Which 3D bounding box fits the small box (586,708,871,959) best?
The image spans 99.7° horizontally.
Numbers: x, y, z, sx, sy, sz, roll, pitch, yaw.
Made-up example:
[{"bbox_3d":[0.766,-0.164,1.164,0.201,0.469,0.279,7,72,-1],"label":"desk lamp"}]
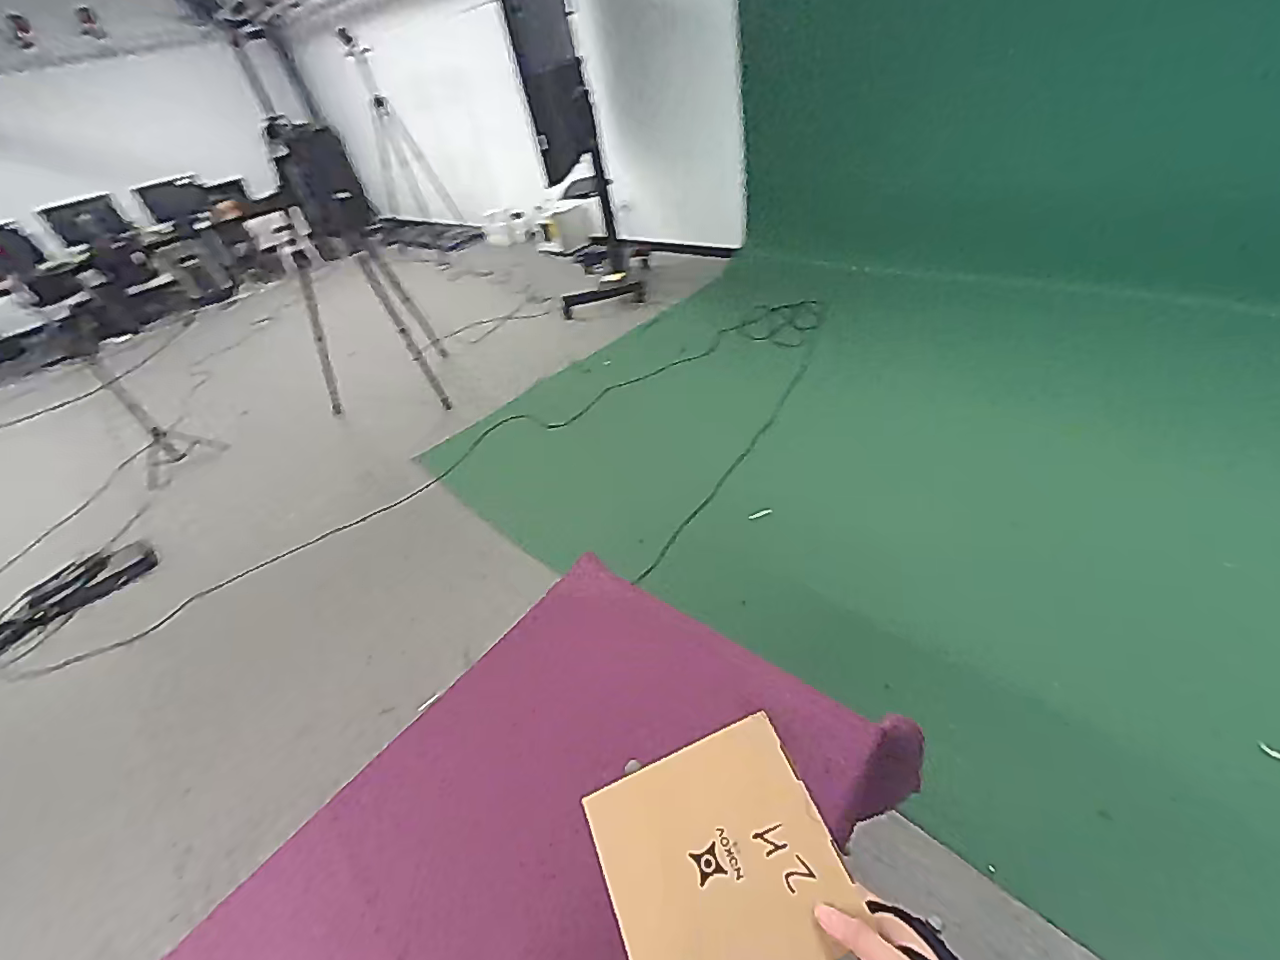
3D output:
[{"bbox_3d":[0.074,0.338,0.488,0.179,0.176,0.168,-23,54,-5],"label":"small box"}]
